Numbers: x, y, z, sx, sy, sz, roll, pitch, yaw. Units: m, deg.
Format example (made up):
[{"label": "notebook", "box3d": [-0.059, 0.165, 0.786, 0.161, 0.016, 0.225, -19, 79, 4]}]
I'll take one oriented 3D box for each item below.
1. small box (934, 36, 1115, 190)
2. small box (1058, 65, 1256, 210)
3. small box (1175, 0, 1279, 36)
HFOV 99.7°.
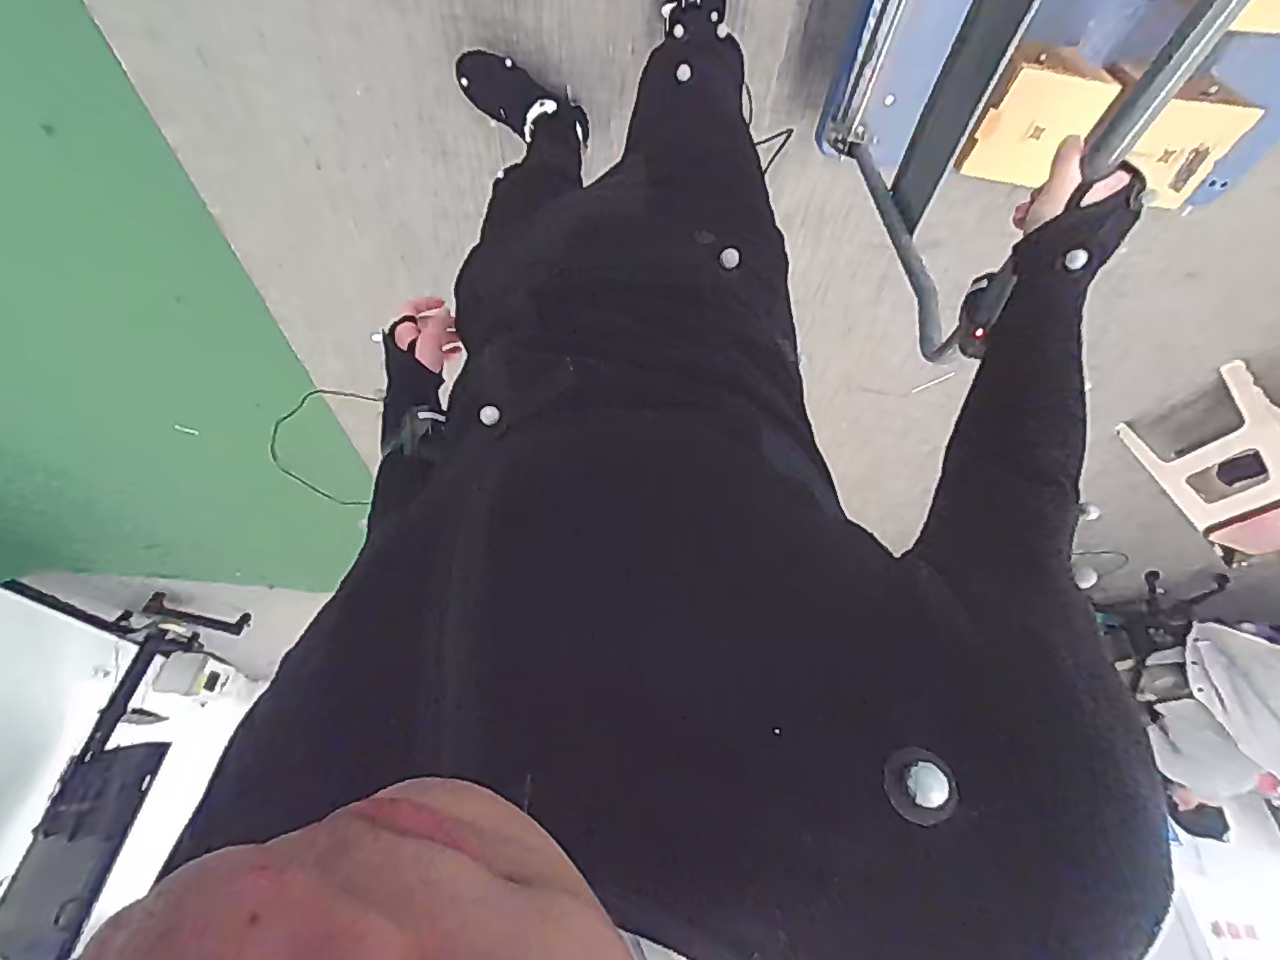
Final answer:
[{"label": "small box", "box3d": [0.664, -0.650, 0.958, 0.179, 0.176, 0.168, 8, 145, -4]}, {"label": "small box", "box3d": [0.909, -0.619, 0.979, 0.179, 0.176, 0.168, 6, 144, -2]}, {"label": "small box", "box3d": [0.936, -0.763, 0.770, 0.179, 0.176, 0.168, 4, 146, 0]}]
